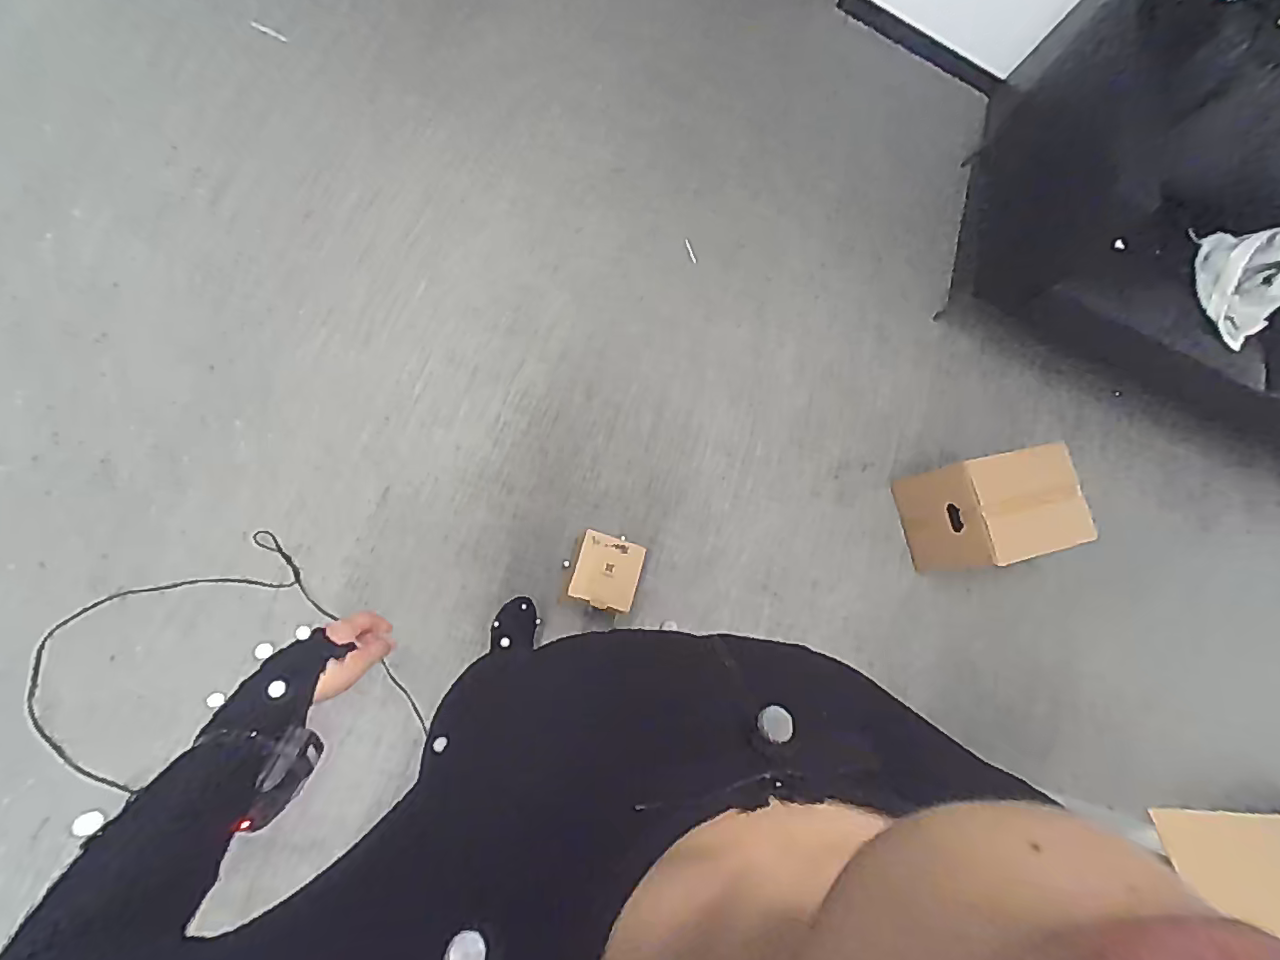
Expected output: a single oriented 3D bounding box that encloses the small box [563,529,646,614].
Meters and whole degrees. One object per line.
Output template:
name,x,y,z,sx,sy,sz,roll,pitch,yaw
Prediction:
small box,-0.101,0.249,1.444,0.168,0.176,0.179,20,73,-10
